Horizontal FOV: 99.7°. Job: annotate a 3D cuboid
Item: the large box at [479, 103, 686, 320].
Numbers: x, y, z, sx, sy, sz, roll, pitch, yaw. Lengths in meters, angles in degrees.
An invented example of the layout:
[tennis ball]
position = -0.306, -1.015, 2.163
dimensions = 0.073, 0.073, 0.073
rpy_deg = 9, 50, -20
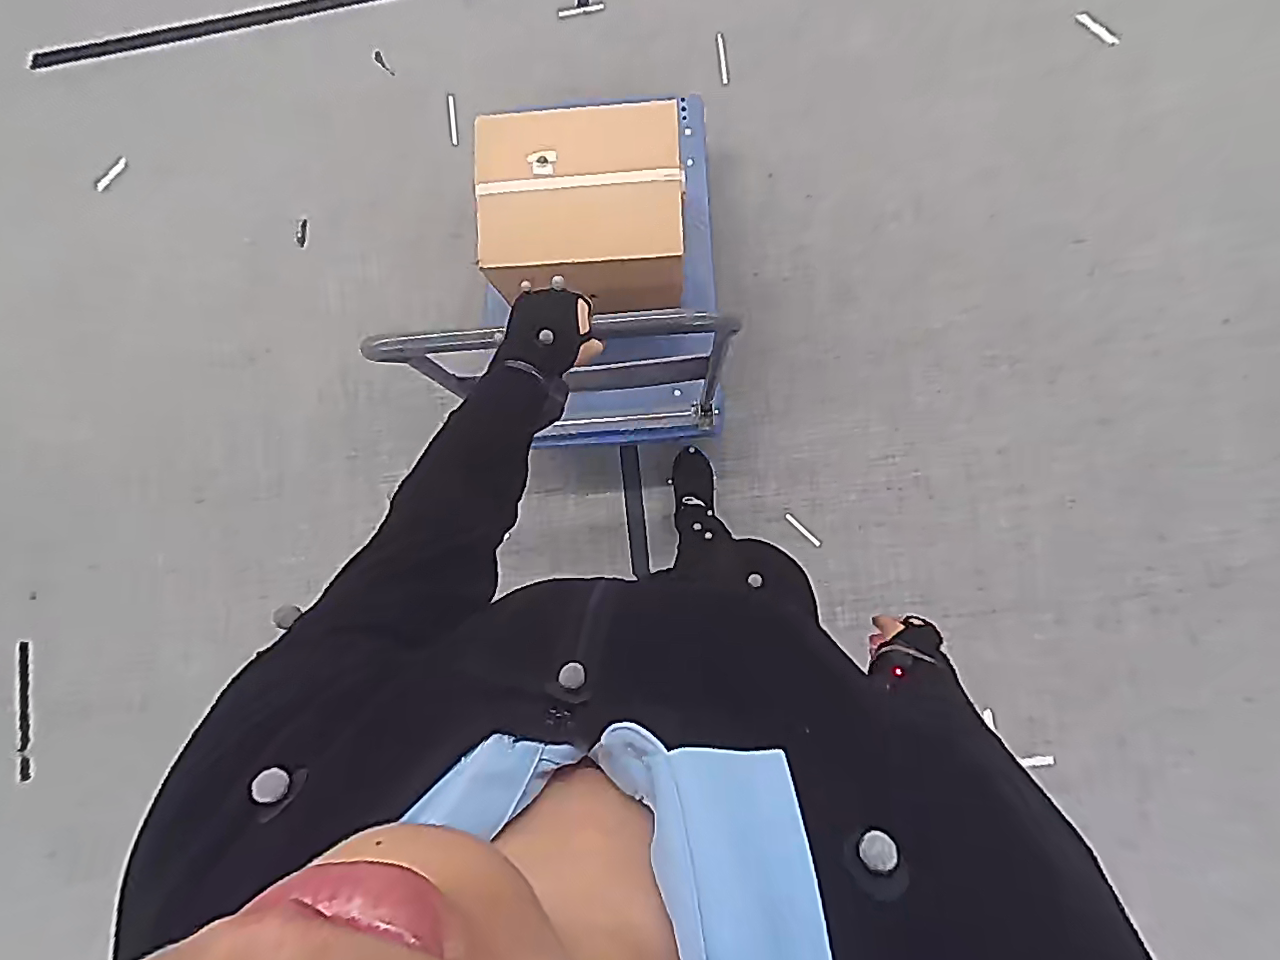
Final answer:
[large box]
position = -0.108, -0.571, 1.216
dimensions = 0.408, 0.320, 0.320
rpy_deg = -2, 86, 5
